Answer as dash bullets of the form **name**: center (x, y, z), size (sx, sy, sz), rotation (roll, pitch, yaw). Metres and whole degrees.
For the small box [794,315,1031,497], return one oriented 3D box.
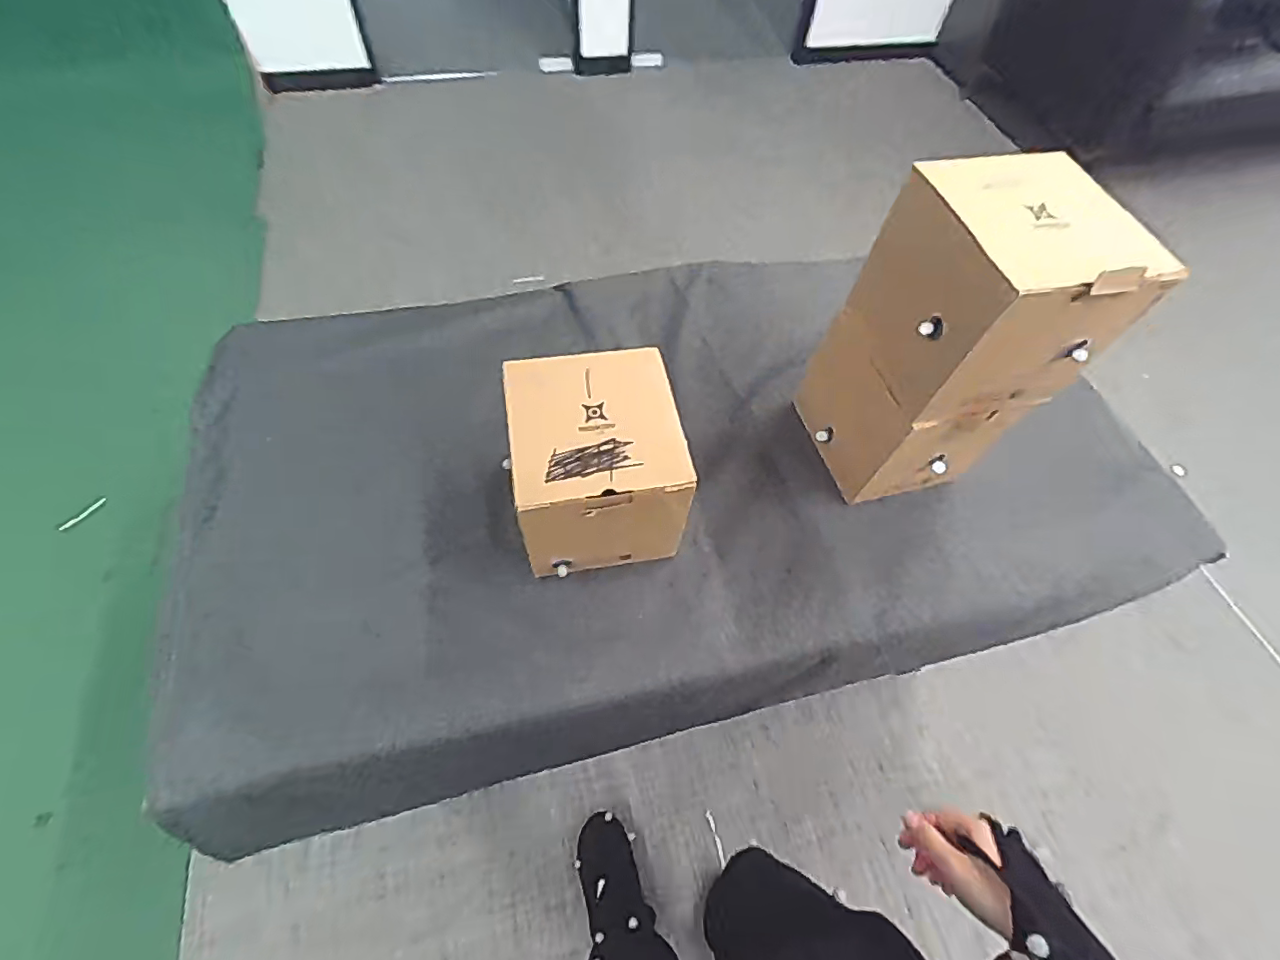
- **small box**: center (0.318, -0.094, 0.674), size (0.168, 0.176, 0.179), rotation (-12, 61, -11)

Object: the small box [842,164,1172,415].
- **small box**: center (0.333, -0.179, 0.536), size (0.168, 0.176, 0.179), rotation (-9, 59, -10)

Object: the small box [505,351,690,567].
- **small box**: center (-0.051, -0.015, 0.597), size (0.168, 0.176, 0.179), rotation (-7, 59, -9)
